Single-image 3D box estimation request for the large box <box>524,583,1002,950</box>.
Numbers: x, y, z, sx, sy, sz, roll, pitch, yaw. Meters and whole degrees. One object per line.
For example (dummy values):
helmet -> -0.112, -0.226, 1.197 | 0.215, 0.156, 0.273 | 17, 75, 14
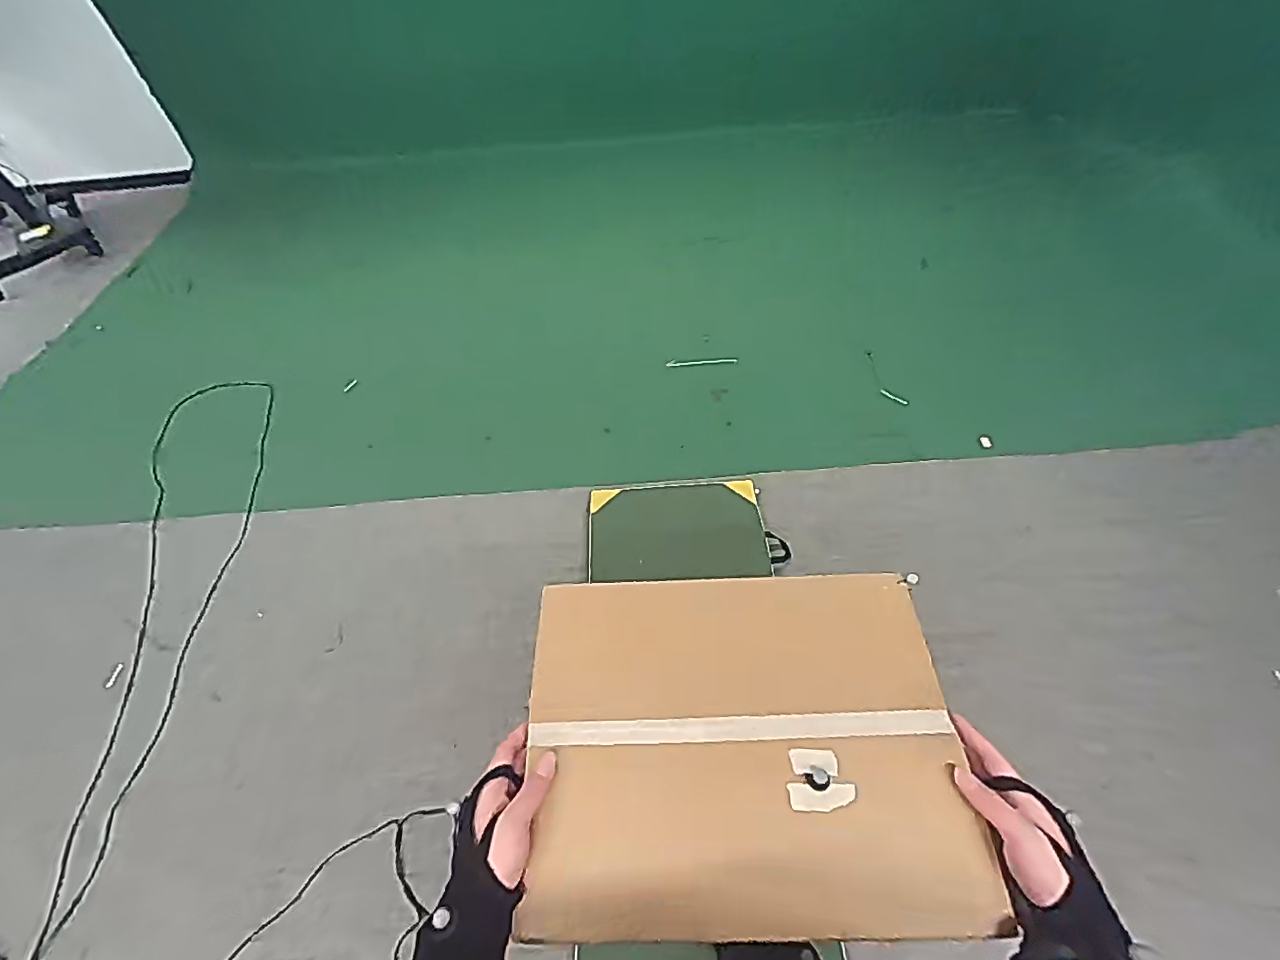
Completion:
large box -> 0.101, 0.339, 0.650 | 0.408, 0.320, 0.320 | -3, 55, 2
